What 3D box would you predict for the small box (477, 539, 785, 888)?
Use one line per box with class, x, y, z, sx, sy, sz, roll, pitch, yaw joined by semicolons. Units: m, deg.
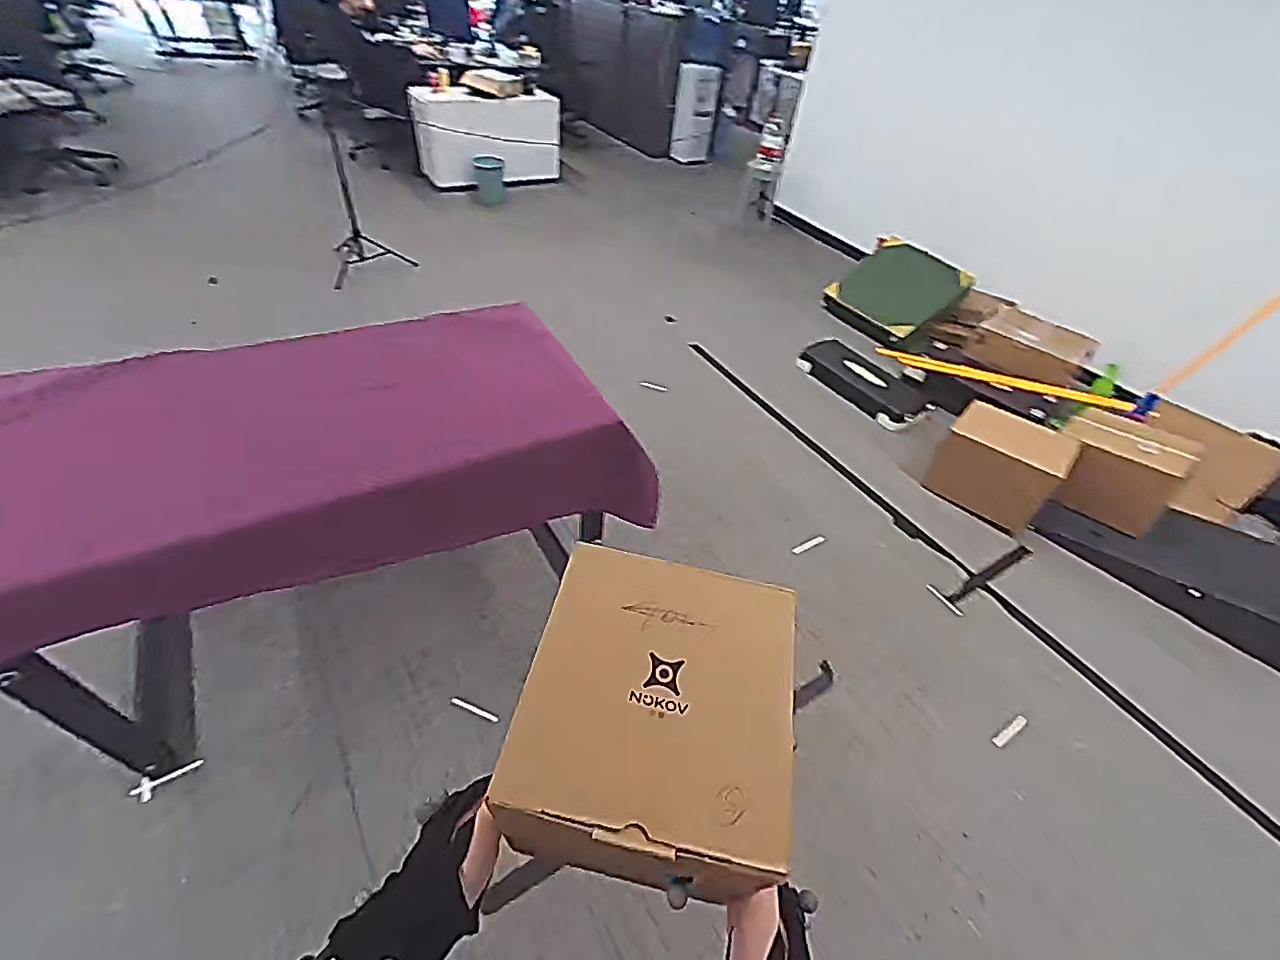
small box;0.001;0.175;0.400;0.168;0.176;0.179;13;48;4
